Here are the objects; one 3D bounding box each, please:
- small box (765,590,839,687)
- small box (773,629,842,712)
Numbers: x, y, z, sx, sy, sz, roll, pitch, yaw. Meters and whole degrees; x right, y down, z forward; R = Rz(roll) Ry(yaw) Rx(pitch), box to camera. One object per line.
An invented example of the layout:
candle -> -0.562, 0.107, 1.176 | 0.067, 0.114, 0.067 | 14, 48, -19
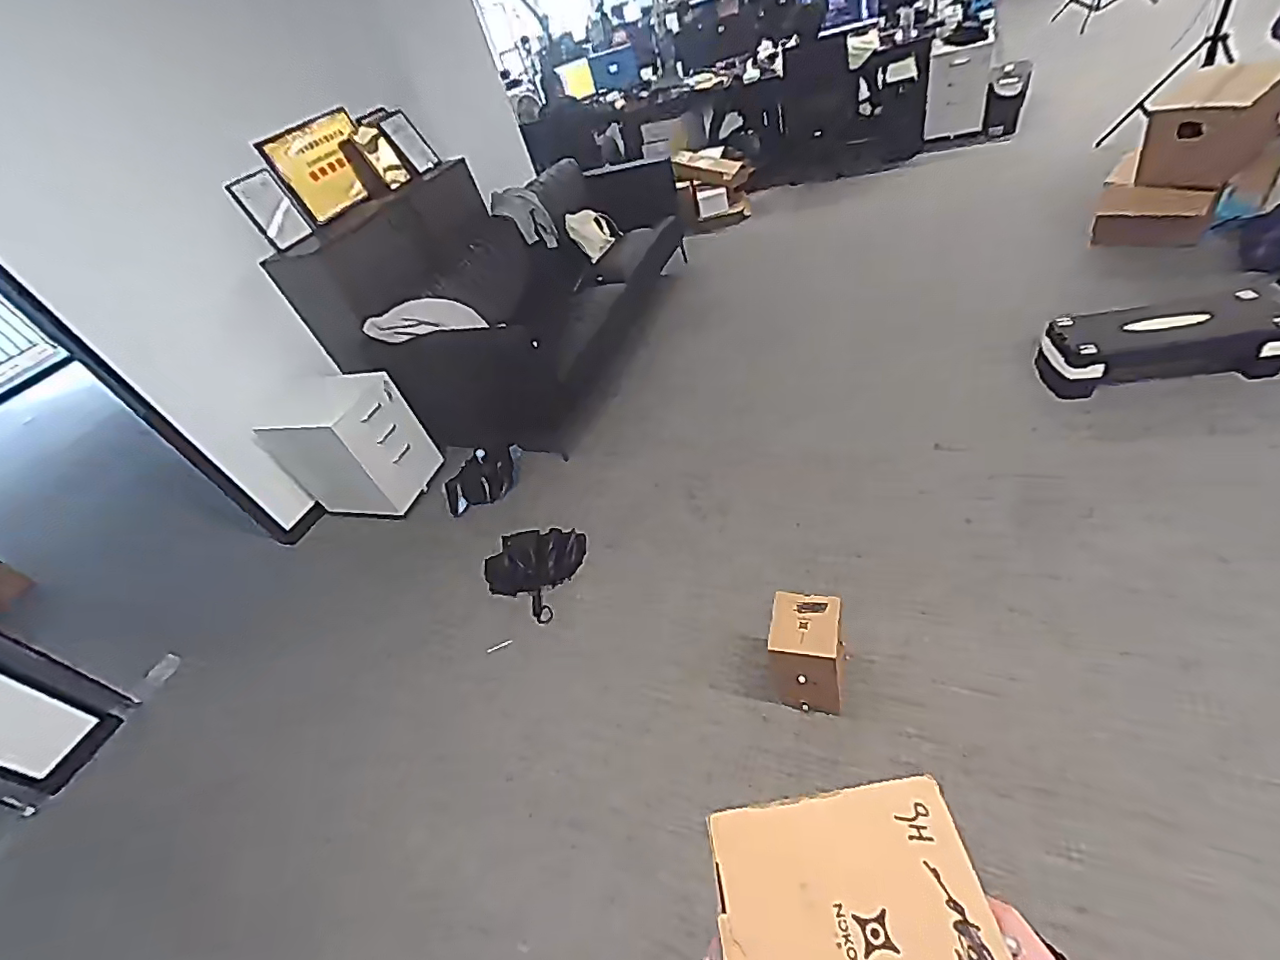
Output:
small box -> 0.432, 0.416, 1.424 | 0.168, 0.176, 0.179 | 1, 45, 24
small box -> 0.481, 0.528, 1.534 | 0.168, 0.176, 0.179 | 1, 46, 24
